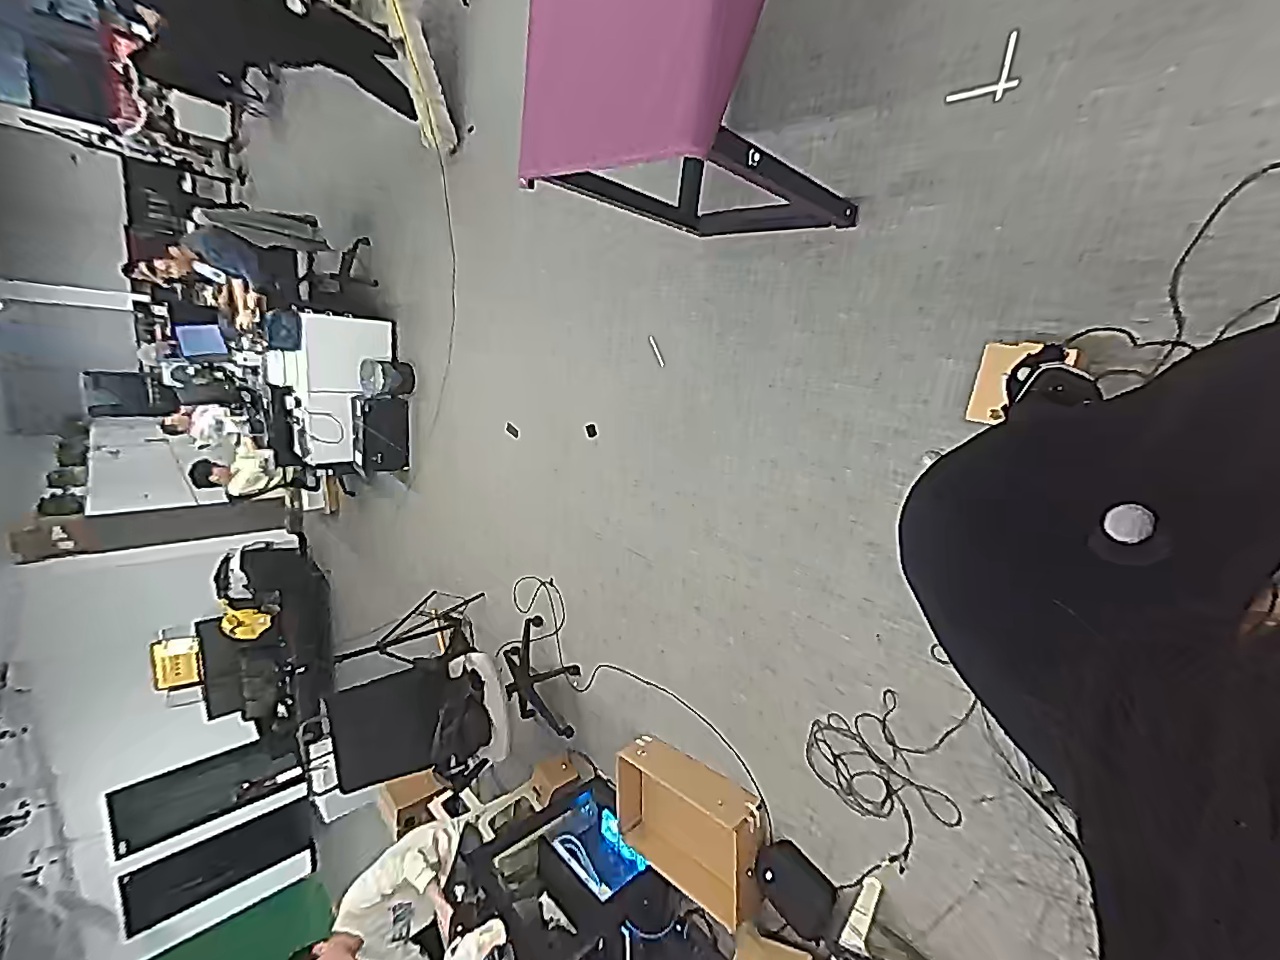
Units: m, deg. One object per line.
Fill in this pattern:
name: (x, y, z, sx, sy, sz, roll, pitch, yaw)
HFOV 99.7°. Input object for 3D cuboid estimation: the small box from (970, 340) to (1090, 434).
small box: (0.863, -0.203, 1.192, 0.168, 0.176, 0.179, 22, 108, 43)
